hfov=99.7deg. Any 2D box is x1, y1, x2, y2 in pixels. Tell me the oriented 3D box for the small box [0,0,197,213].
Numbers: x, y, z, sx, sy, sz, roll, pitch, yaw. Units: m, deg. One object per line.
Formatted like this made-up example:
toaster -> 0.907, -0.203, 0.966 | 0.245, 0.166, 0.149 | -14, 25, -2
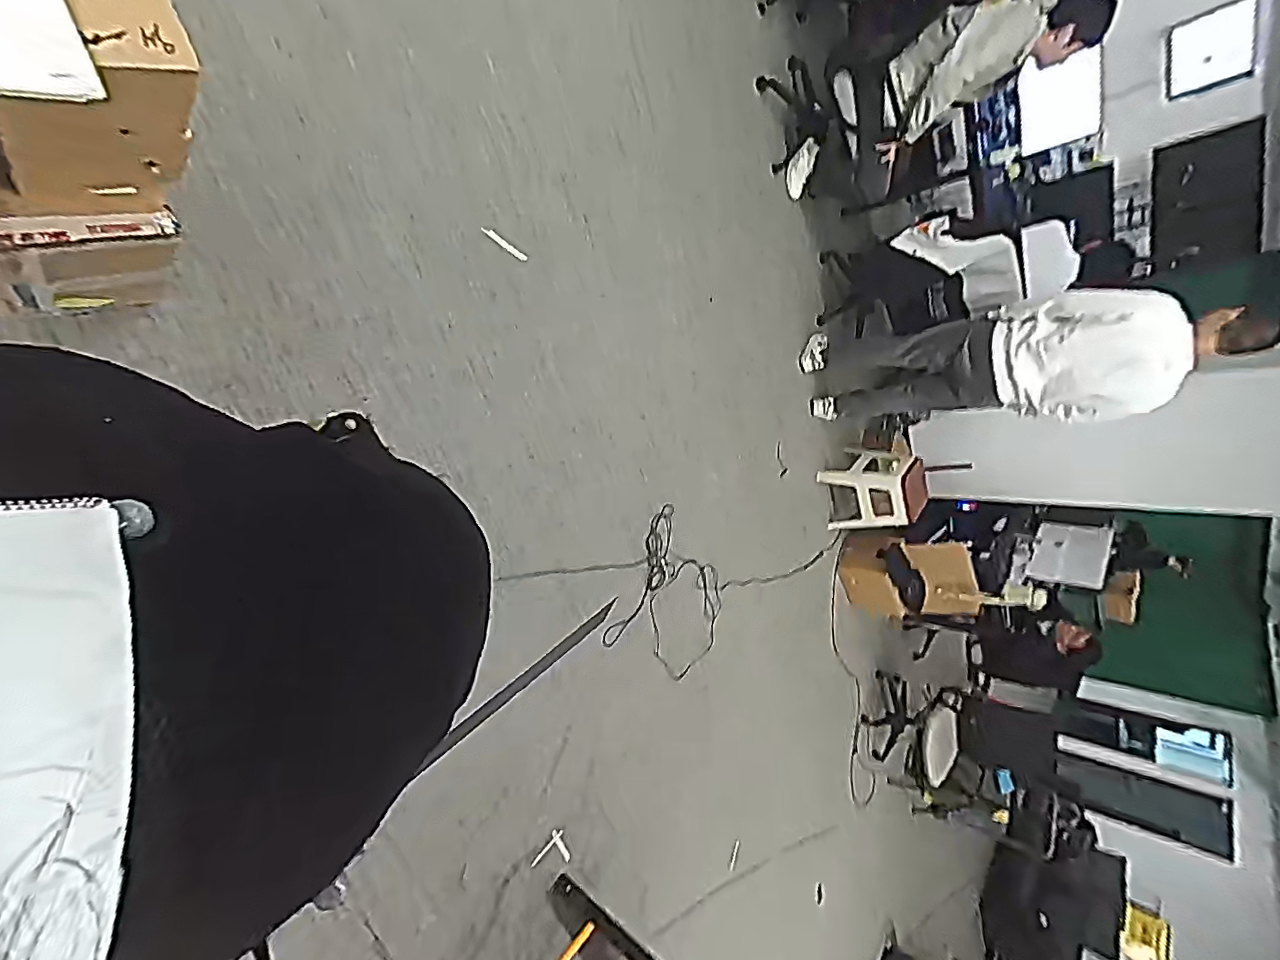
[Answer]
small box -> -0.710, -0.454, 0.676 | 0.179, 0.176, 0.168 | -35, 116, -38
